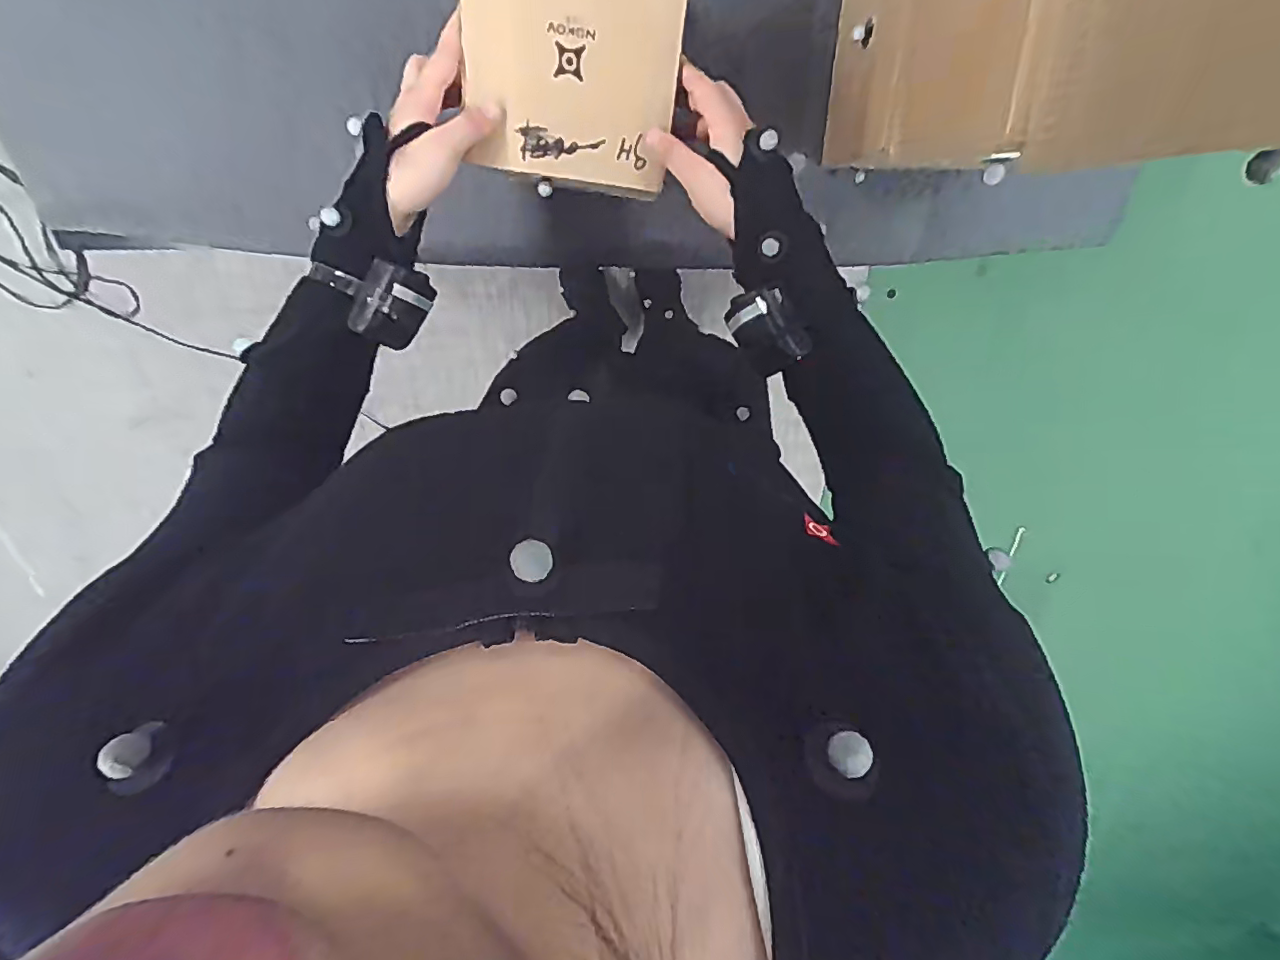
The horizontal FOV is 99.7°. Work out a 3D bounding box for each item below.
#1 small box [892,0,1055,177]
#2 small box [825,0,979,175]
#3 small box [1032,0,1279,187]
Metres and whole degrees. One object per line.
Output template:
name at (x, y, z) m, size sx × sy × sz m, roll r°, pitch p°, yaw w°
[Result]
small box at (0.277, -0.296, 0.333) m, size 0.168 × 0.176 × 0.179 m, roll -3°, pitch 117°, yaw 2°
small box at (0.276, -0.373, 0.476) m, size 0.168 × 0.176 × 0.179 m, roll 0°, pitch 116°, yaw -1°
small box at (0.282, -0.214, 0.189) m, size 0.168 × 0.176 × 0.179 m, roll -6°, pitch 116°, yaw 4°
